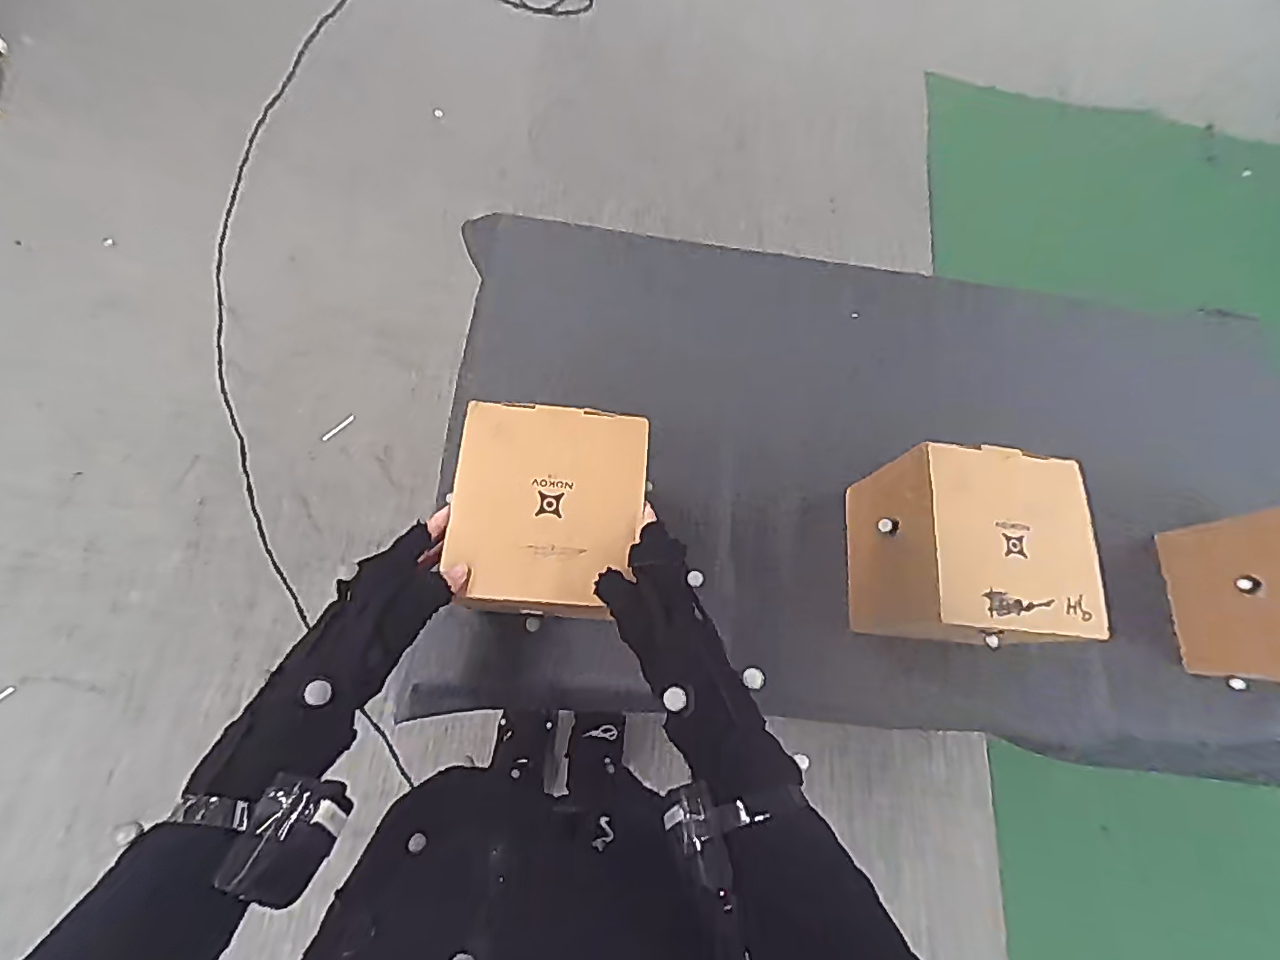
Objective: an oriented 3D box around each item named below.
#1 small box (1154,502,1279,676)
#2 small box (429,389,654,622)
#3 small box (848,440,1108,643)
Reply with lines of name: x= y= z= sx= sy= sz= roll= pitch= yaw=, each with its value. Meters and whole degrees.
small box: x=0.757 y=0.133 z=0.618 sx=0.168 sy=0.176 sz=0.179 roll=6 pitch=70 yaw=-5
small box: x=-0.083 y=0.036 z=0.523 sx=0.168 sy=0.176 sz=0.179 roll=6 pitch=72 yaw=-3
small box: x=0.341 y=0.076 z=0.586 sx=0.168 sy=0.176 sz=0.179 roll=6 pitch=71 yaw=-5
